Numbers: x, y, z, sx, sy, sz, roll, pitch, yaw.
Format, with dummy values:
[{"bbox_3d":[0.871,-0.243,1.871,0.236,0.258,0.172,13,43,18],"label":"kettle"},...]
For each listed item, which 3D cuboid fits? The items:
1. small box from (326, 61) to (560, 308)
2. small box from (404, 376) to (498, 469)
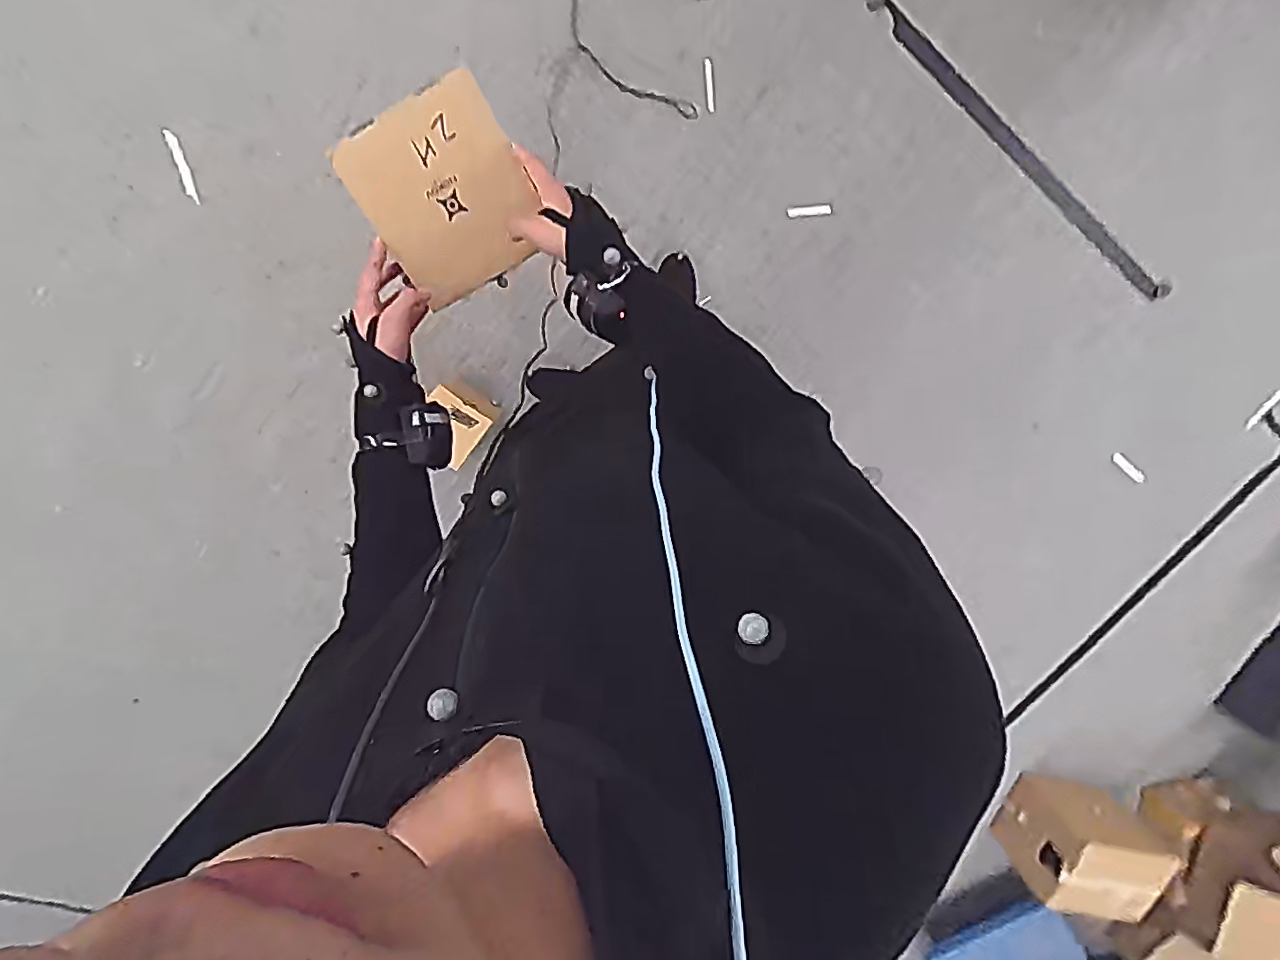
[{"bbox_3d":[-0.205,-0.323,0.619,0.168,0.176,0.179,-29,115,2],"label":"small box"},{"bbox_3d":[-0.507,-0.164,1.481,0.168,0.176,0.179,36,103,-14],"label":"small box"}]
